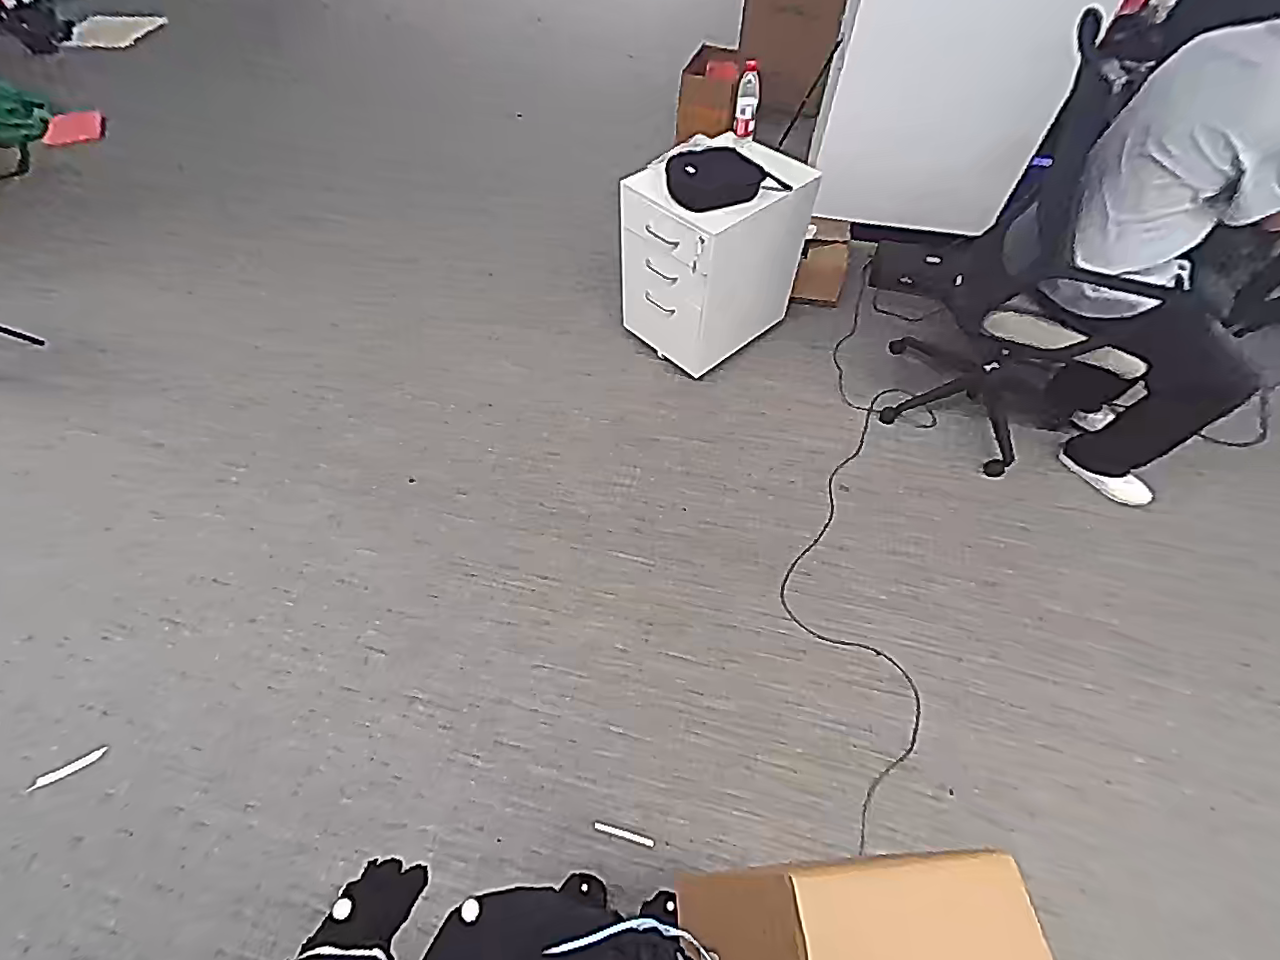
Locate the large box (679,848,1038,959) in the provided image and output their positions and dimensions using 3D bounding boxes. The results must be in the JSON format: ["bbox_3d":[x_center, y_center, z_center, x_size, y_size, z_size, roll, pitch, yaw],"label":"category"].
[{"bbox_3d":[0.273,0.694,0.708,0.320,0.408,0.320,5,53,-14],"label":"large box"}]
